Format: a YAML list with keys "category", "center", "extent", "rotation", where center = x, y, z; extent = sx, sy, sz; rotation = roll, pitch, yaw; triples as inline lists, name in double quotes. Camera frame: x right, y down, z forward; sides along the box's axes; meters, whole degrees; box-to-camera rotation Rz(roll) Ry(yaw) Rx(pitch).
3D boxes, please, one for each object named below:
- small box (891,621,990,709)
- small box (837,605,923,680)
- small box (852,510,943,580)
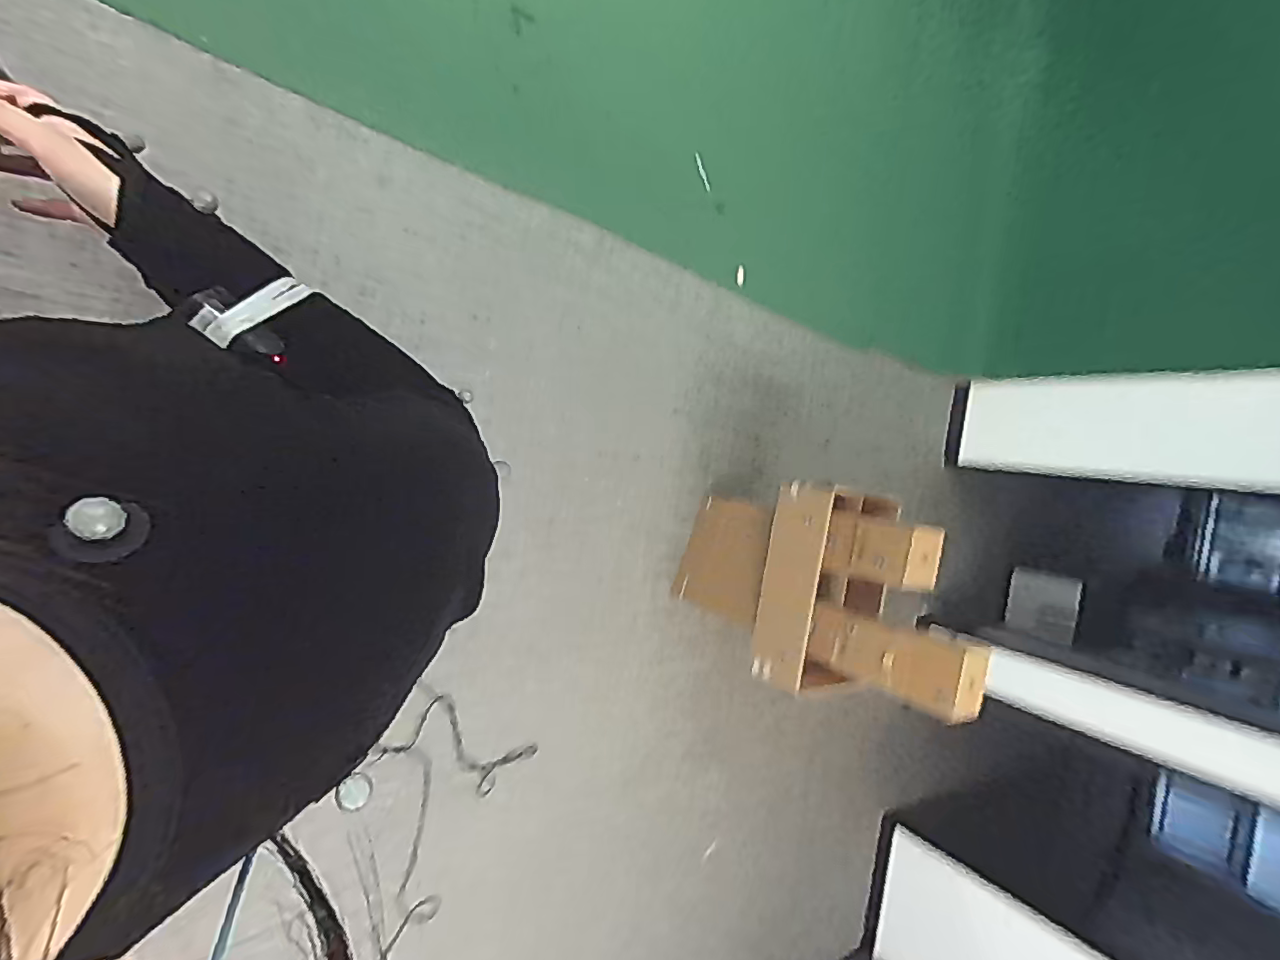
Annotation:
- category: "small box"
  center: [0.800, 0.484, 1.447]
  extent: [0.168, 0.176, 0.179]
  rotation: [11, 91, -37]
- category: "small box"
  center: [0.702, 0.470, 1.577]
  extent: [0.179, 0.176, 0.168]
  rotation: [12, 89, -37]
- category: "small box"
  center: [0.740, 0.185, 1.562]
  extent: [0.179, 0.176, 0.168]
  rotation: [9, 92, -37]
